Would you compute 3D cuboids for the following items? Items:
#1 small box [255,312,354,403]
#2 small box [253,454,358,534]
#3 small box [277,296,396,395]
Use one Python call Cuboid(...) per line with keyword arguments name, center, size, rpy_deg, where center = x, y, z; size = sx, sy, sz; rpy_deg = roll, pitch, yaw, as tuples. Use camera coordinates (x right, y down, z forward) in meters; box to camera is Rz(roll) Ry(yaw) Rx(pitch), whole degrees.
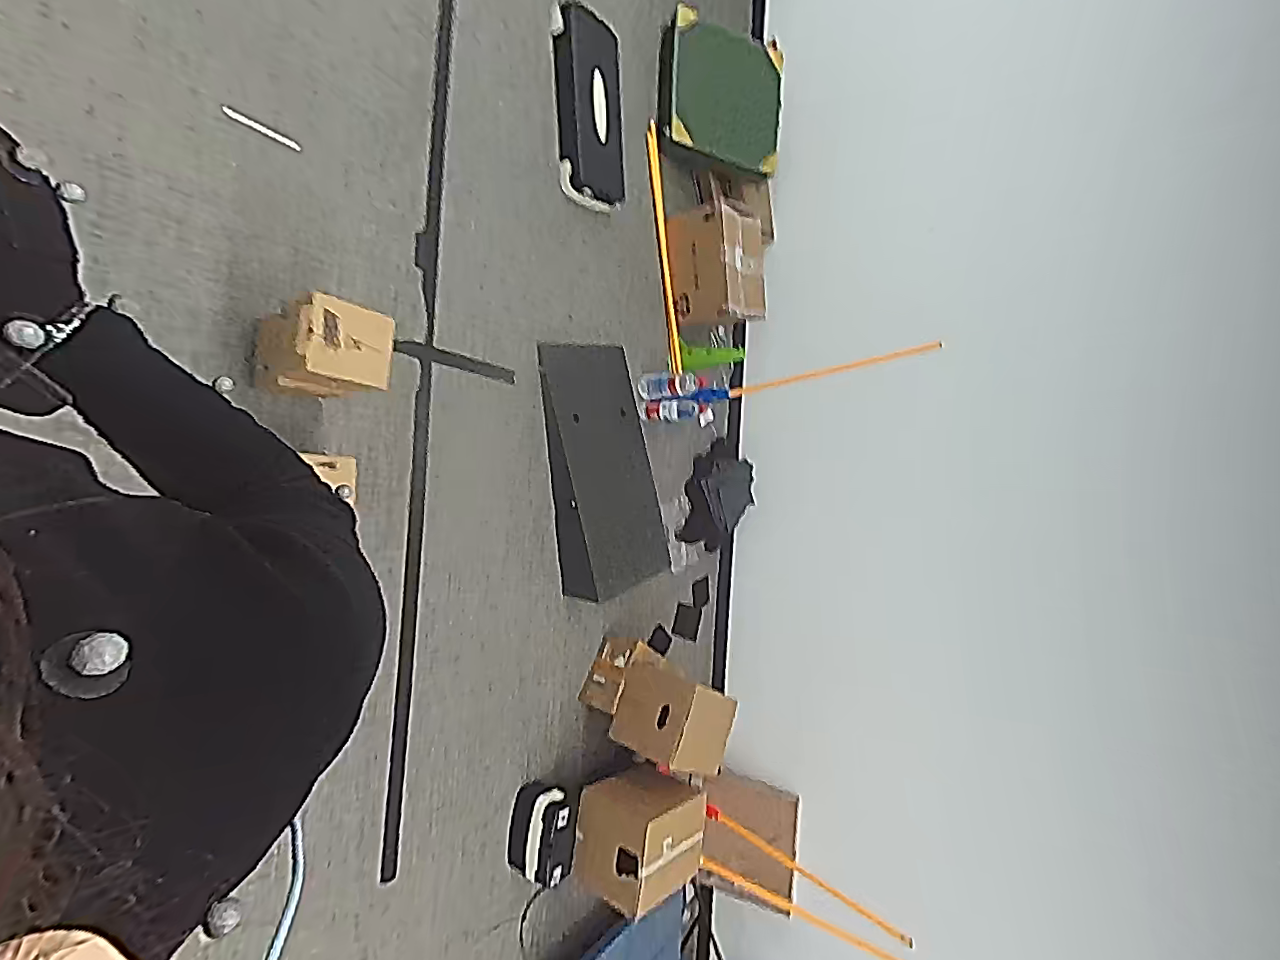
Cuboid(name="small box", center=(-0.806, -0.286, 1.305), size=(0.168, 0.176, 0.179), rpy_deg=(4, 89, -52))
Cuboid(name="small box", center=(-0.815, 0.034, 1.313), size=(0.168, 0.176, 0.179), rpy_deg=(5, 89, -53))
Cuboid(name="small box", center=(-0.677, -0.288, 1.204), size=(0.179, 0.176, 0.168), rpy_deg=(9, 86, -54))
